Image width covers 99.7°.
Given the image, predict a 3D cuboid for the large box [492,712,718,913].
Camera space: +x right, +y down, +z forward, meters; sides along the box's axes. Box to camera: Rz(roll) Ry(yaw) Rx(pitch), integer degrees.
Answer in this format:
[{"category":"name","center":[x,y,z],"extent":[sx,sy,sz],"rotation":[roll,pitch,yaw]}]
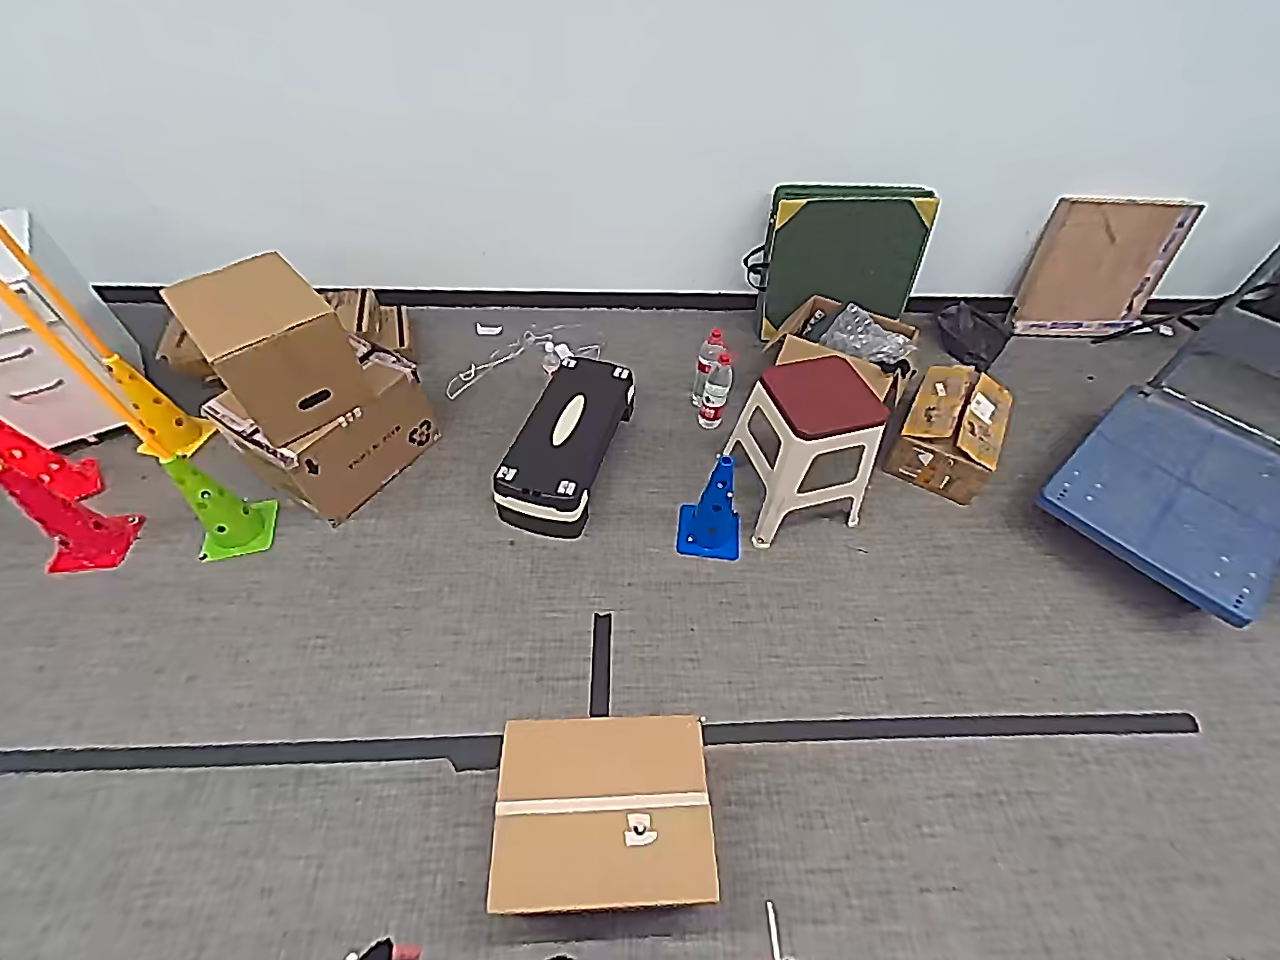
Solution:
[{"category":"large box","center":[-0.077,0.705,1.147],"extent":[0.408,0.320,0.320],"rotation":[0,51,-4]}]
